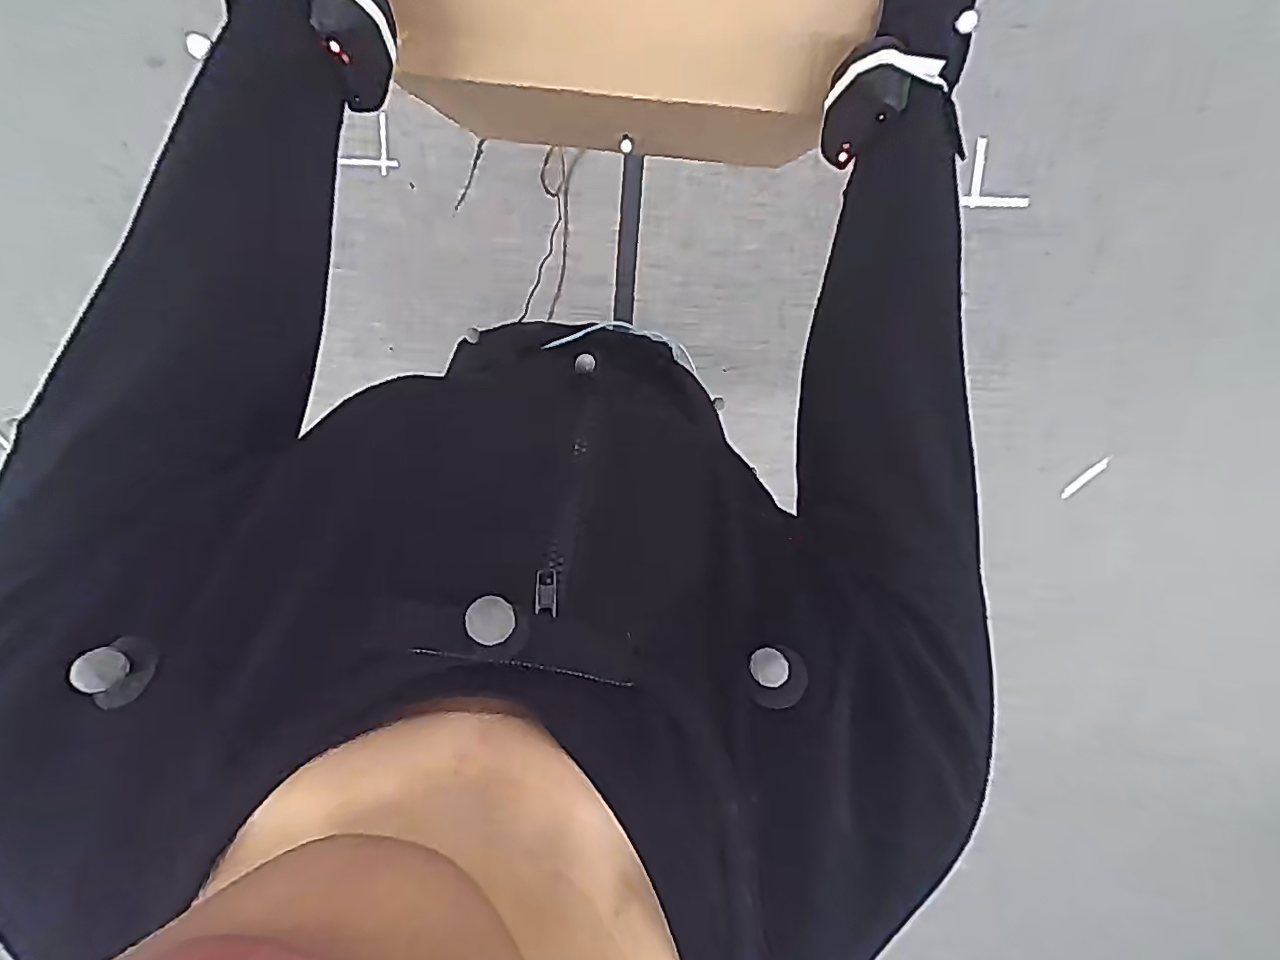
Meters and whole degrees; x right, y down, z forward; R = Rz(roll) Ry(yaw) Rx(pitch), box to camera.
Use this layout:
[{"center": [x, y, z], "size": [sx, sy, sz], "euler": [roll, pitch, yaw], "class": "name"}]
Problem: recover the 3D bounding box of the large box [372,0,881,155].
[{"center": [0.000, -0.520, 0.518], "size": [0.408, 0.320, 0.320], "euler": [5, 113, -1], "class": "large box"}]
